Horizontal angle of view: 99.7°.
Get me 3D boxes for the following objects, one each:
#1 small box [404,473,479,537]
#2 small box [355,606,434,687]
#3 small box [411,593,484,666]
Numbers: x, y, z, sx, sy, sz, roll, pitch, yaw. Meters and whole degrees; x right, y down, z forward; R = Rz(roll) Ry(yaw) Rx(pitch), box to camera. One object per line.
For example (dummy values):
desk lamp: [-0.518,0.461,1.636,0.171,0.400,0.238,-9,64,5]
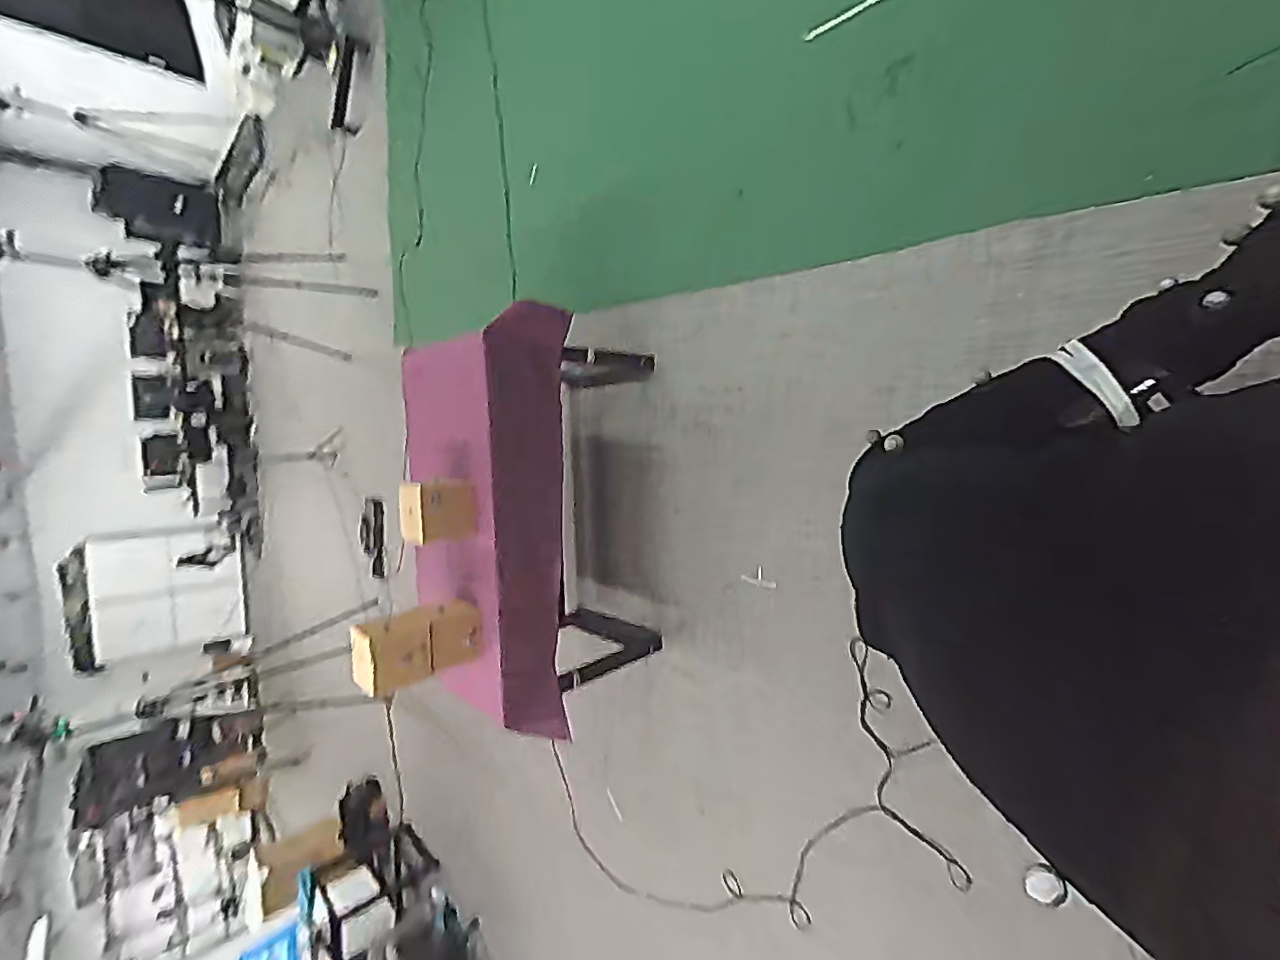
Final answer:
small box: [-0.619,0.071,1.689,0.168,0.176,0.179,3,97,46]
small box: [-0.726,0.485,1.607,0.179,0.176,0.168,6,98,45]
small box: [-0.614,0.469,1.727,0.179,0.176,0.168,5,98,45]
